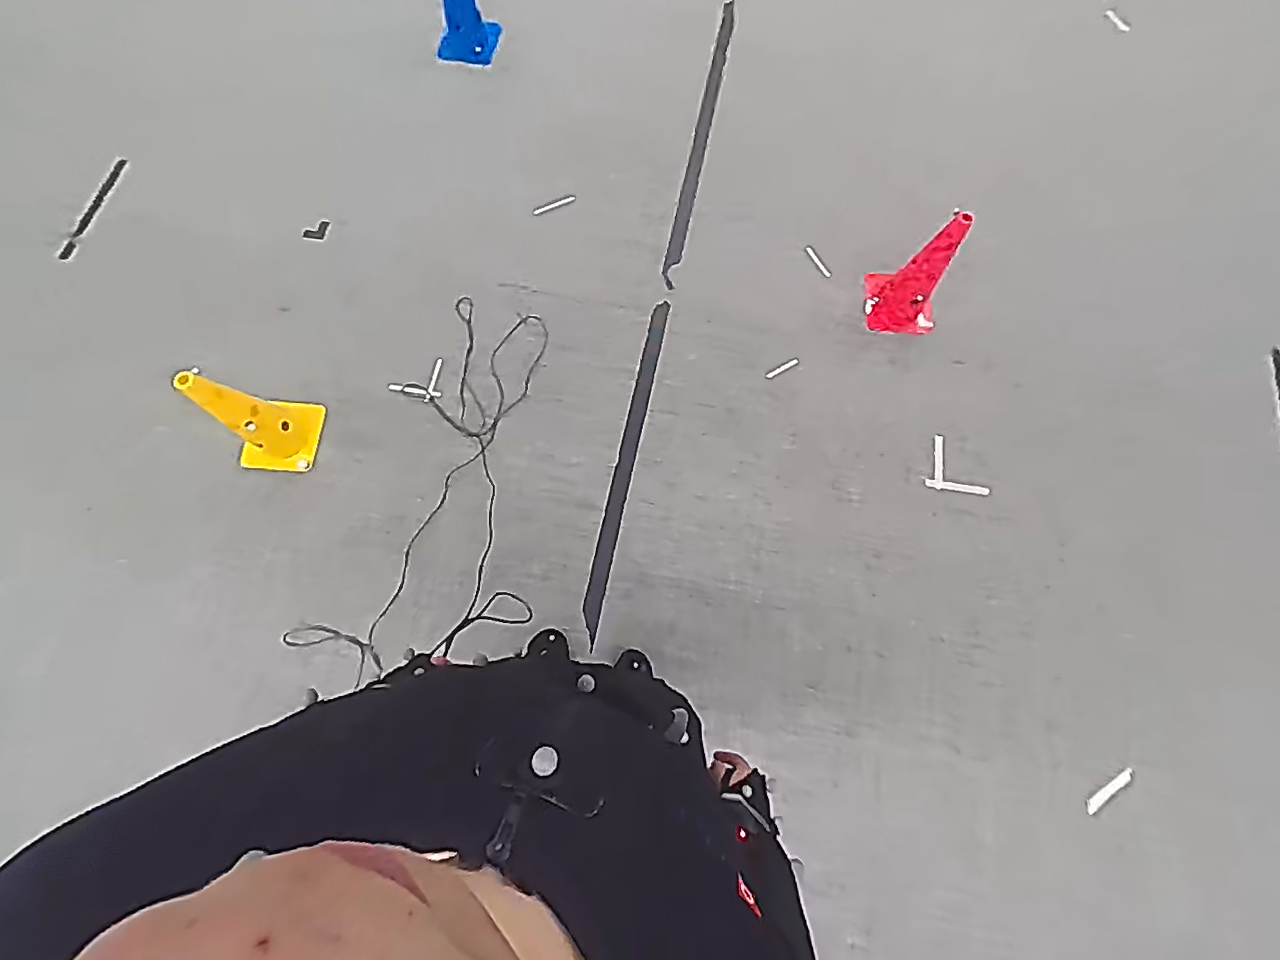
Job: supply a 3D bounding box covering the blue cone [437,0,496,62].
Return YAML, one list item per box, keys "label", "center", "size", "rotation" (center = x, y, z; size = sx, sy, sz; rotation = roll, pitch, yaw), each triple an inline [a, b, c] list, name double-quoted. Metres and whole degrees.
- label: "blue cone"
  center: [-0.617, -1.607, 1.764]
  size: [0.192, 0.380, 0.193]
  rotation: [11, 74, 4]

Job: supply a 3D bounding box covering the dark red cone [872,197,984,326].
- label: "dark red cone"
  center: [0.789, -0.595, 1.447]
  size: [0.201, 0.394, 0.202]
  rotation: [4, 74, 2]
